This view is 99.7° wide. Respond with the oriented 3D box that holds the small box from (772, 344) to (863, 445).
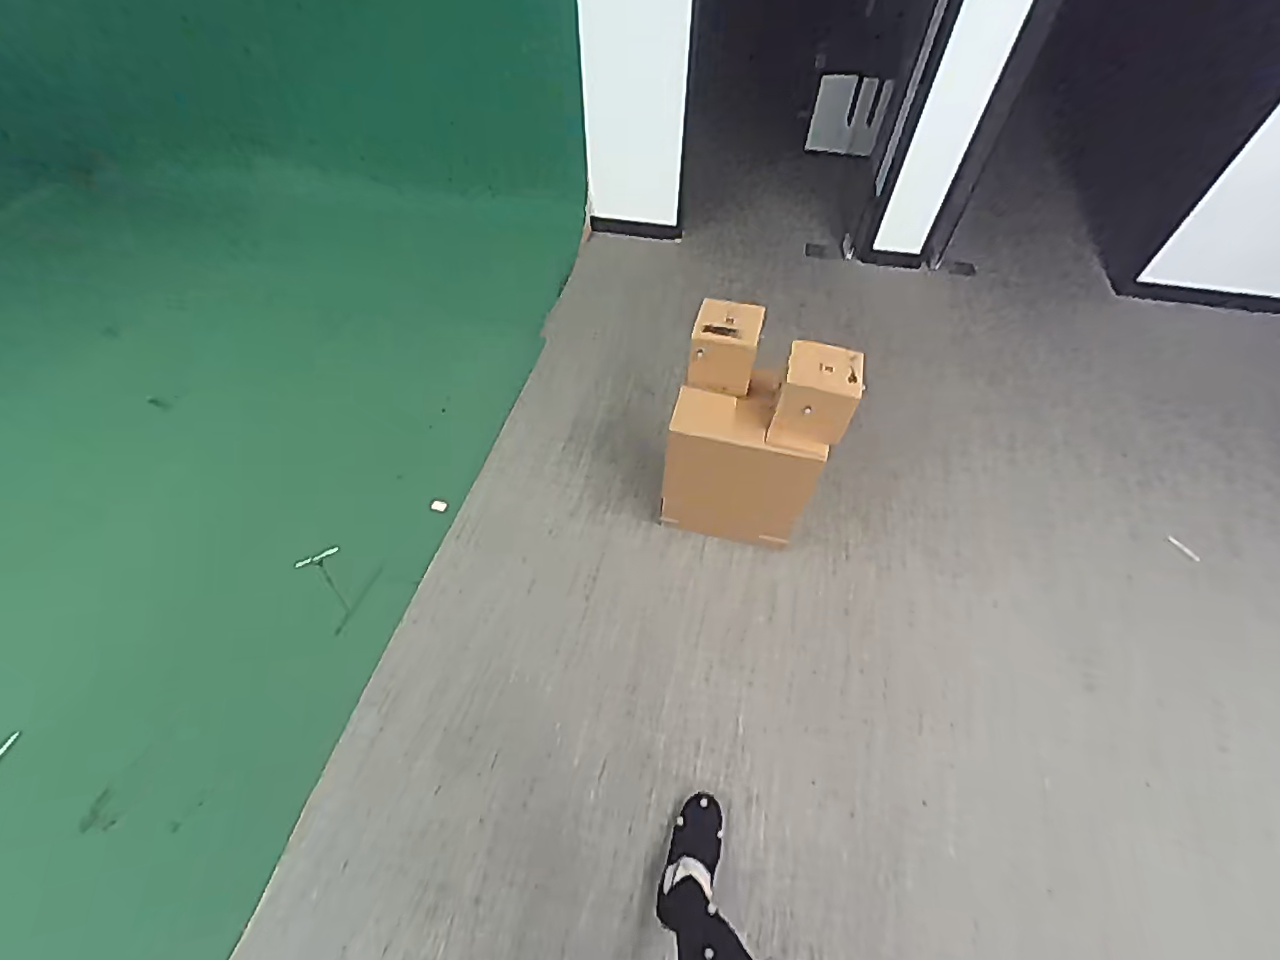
[{"bbox_3d":[0.437,-0.209,1.345,0.179,0.176,0.168,13,55,9],"label":"small box"}]
